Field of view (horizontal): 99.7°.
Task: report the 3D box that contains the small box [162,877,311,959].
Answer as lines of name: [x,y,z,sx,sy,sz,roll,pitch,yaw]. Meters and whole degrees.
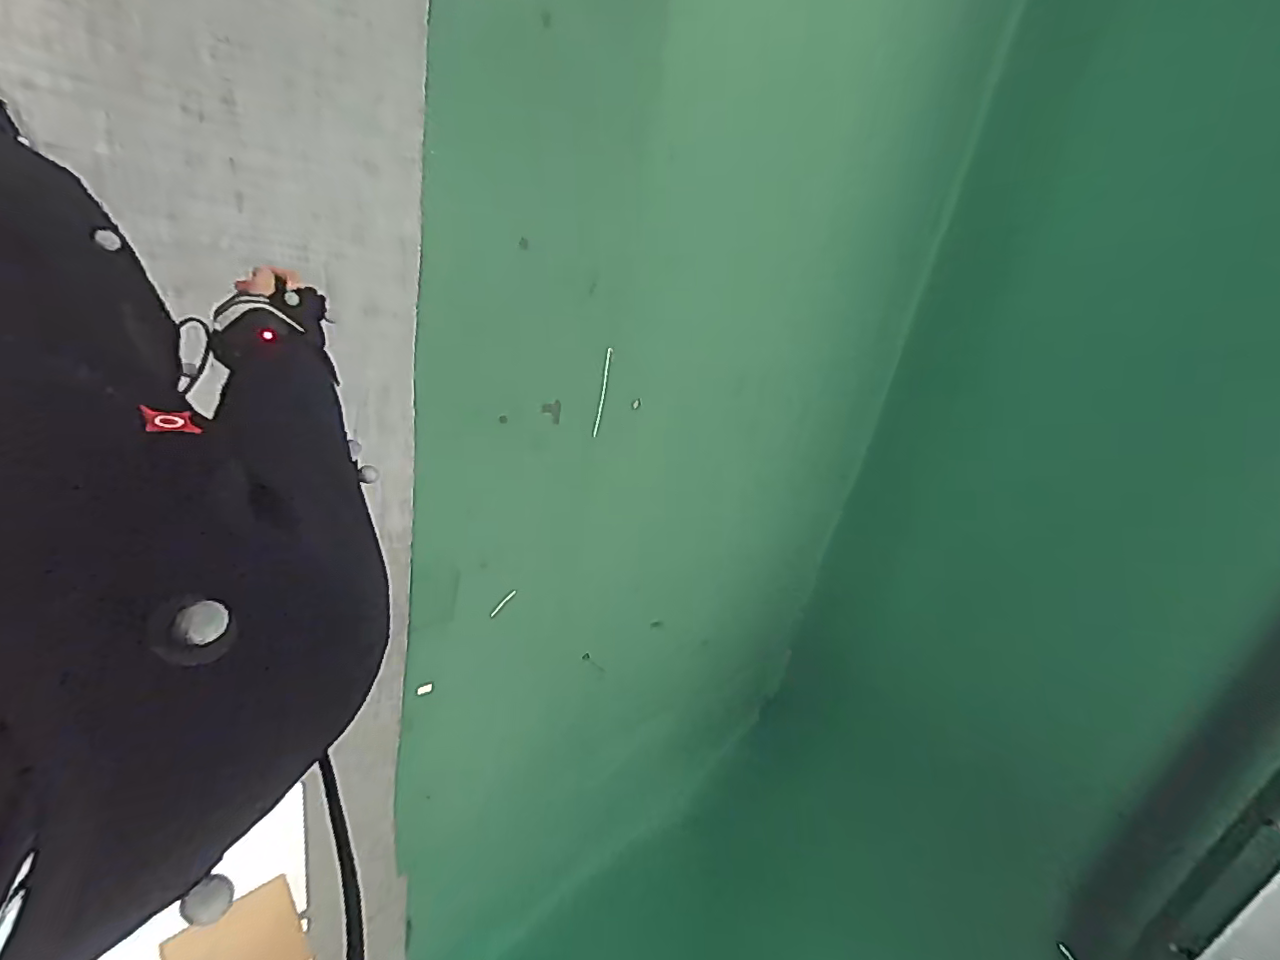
small box: [-0.653,0.815,0.882,0.179,0.176,0.168,-15,124,-43]
